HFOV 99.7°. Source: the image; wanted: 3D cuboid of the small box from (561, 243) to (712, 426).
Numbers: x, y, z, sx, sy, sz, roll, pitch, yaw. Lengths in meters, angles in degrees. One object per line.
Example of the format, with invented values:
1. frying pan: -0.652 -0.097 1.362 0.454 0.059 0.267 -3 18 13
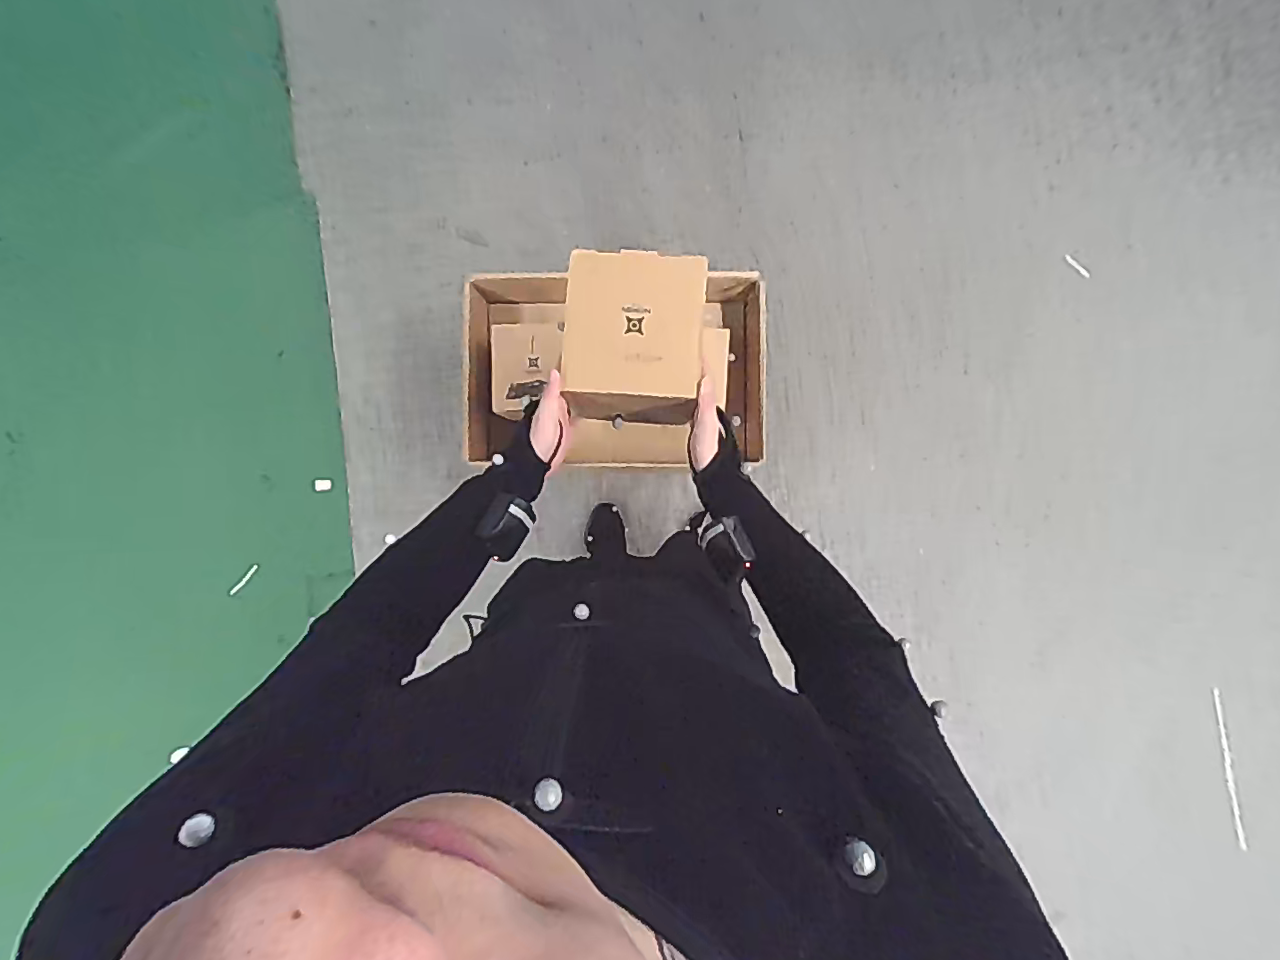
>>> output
1. small box: -0.005 -0.177 0.702 0.168 0.176 0.179 4 85 0

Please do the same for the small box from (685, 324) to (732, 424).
1. small box: 0.092 -0.220 1.135 0.168 0.176 0.179 4 90 1
